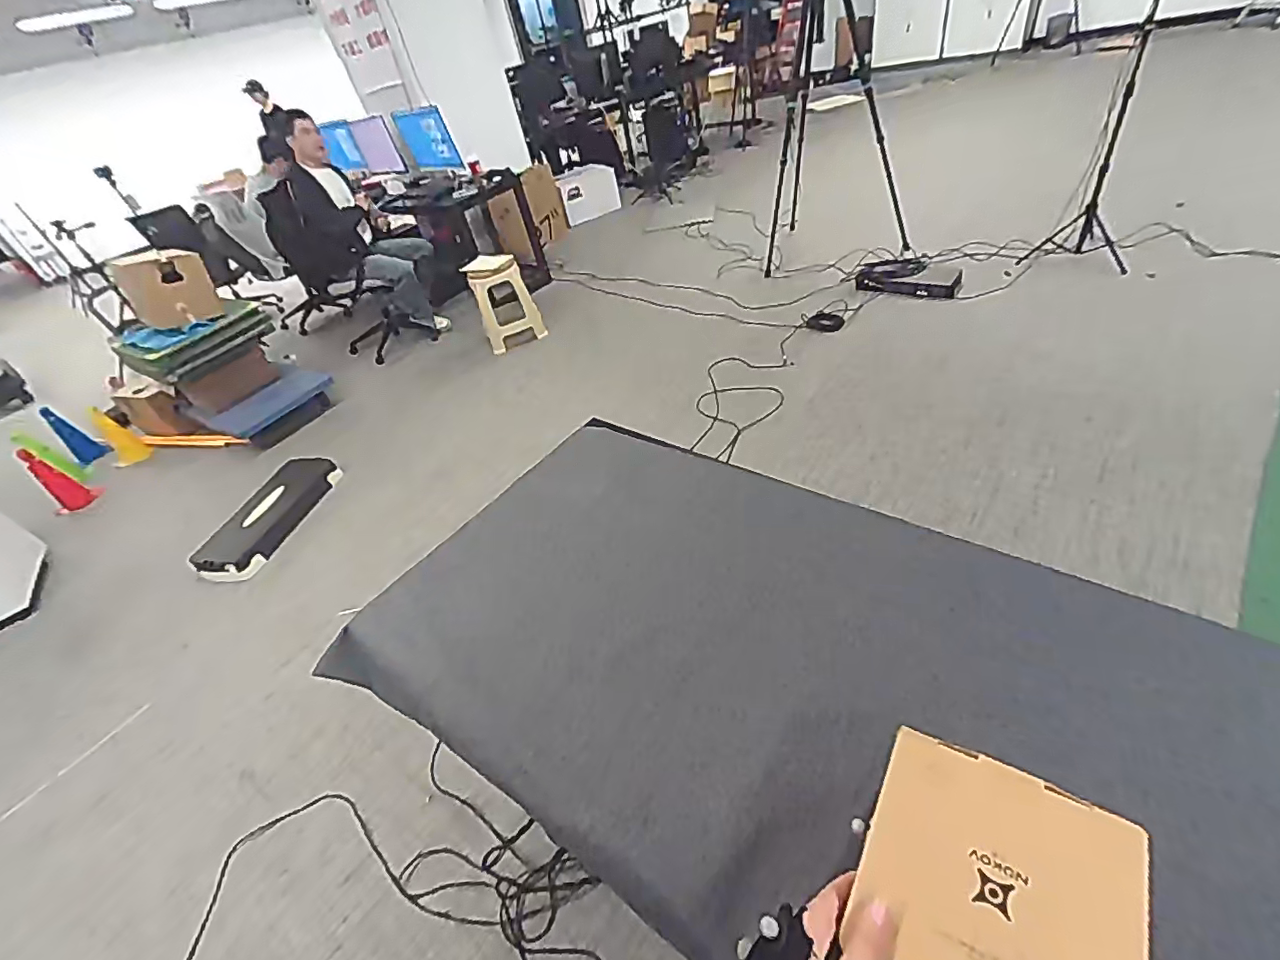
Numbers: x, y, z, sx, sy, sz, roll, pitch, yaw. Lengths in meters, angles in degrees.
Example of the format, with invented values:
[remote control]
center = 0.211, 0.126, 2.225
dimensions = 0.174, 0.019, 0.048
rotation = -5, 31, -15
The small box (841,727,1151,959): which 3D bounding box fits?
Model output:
[small box]
center = 0.264, 0.343, 0.427
dimensions = 0.168, 0.176, 0.179
rotation = 14, 49, 31
